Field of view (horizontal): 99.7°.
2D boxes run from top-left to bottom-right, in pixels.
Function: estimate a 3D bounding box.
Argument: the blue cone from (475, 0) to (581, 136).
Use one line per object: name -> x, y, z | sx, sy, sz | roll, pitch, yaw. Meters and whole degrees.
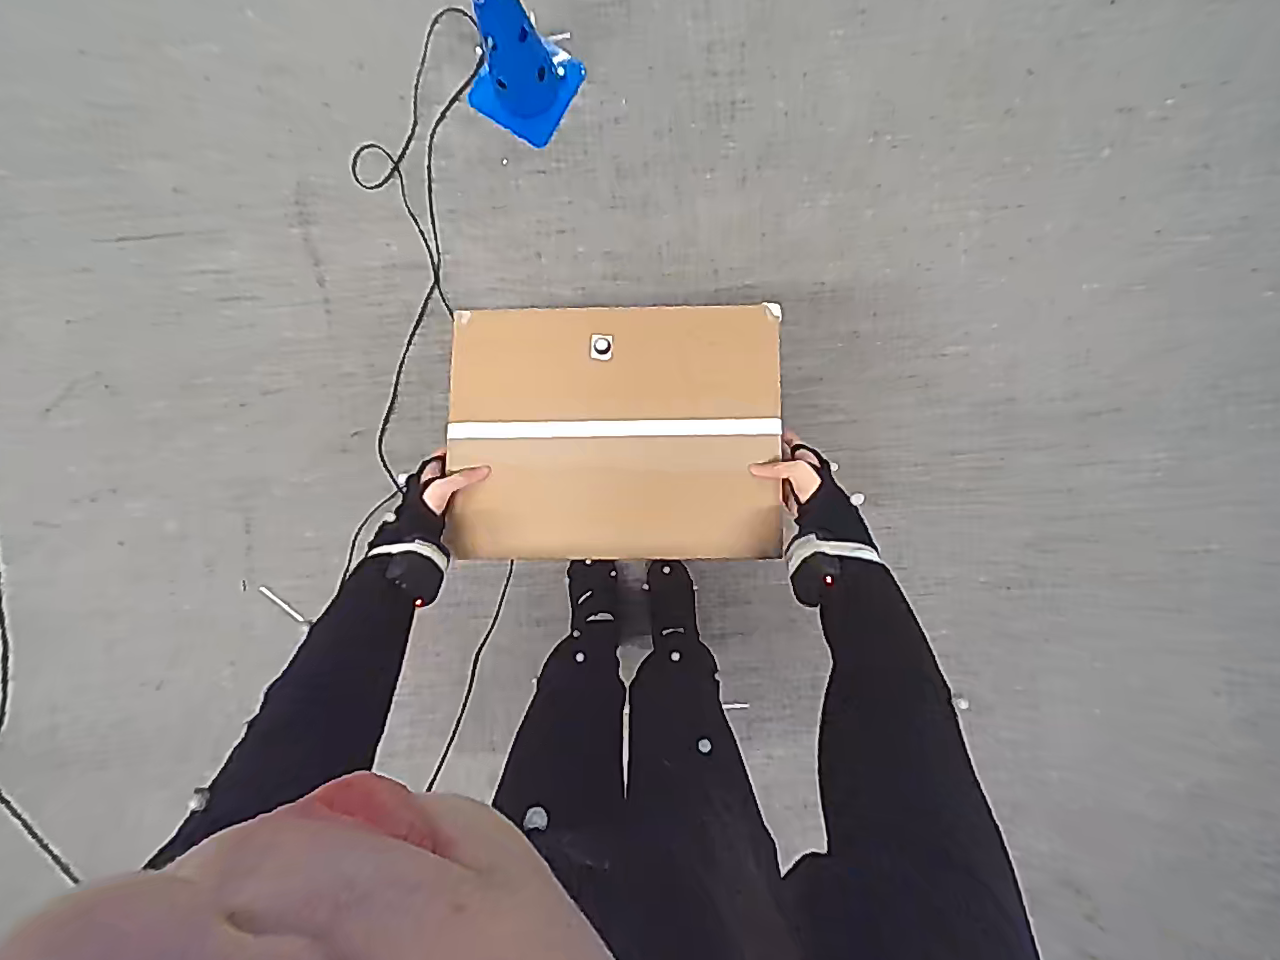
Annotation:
blue cone -> -0.239, -0.832, 0.973 | 0.192, 0.380, 0.193 | 29, 95, -2
